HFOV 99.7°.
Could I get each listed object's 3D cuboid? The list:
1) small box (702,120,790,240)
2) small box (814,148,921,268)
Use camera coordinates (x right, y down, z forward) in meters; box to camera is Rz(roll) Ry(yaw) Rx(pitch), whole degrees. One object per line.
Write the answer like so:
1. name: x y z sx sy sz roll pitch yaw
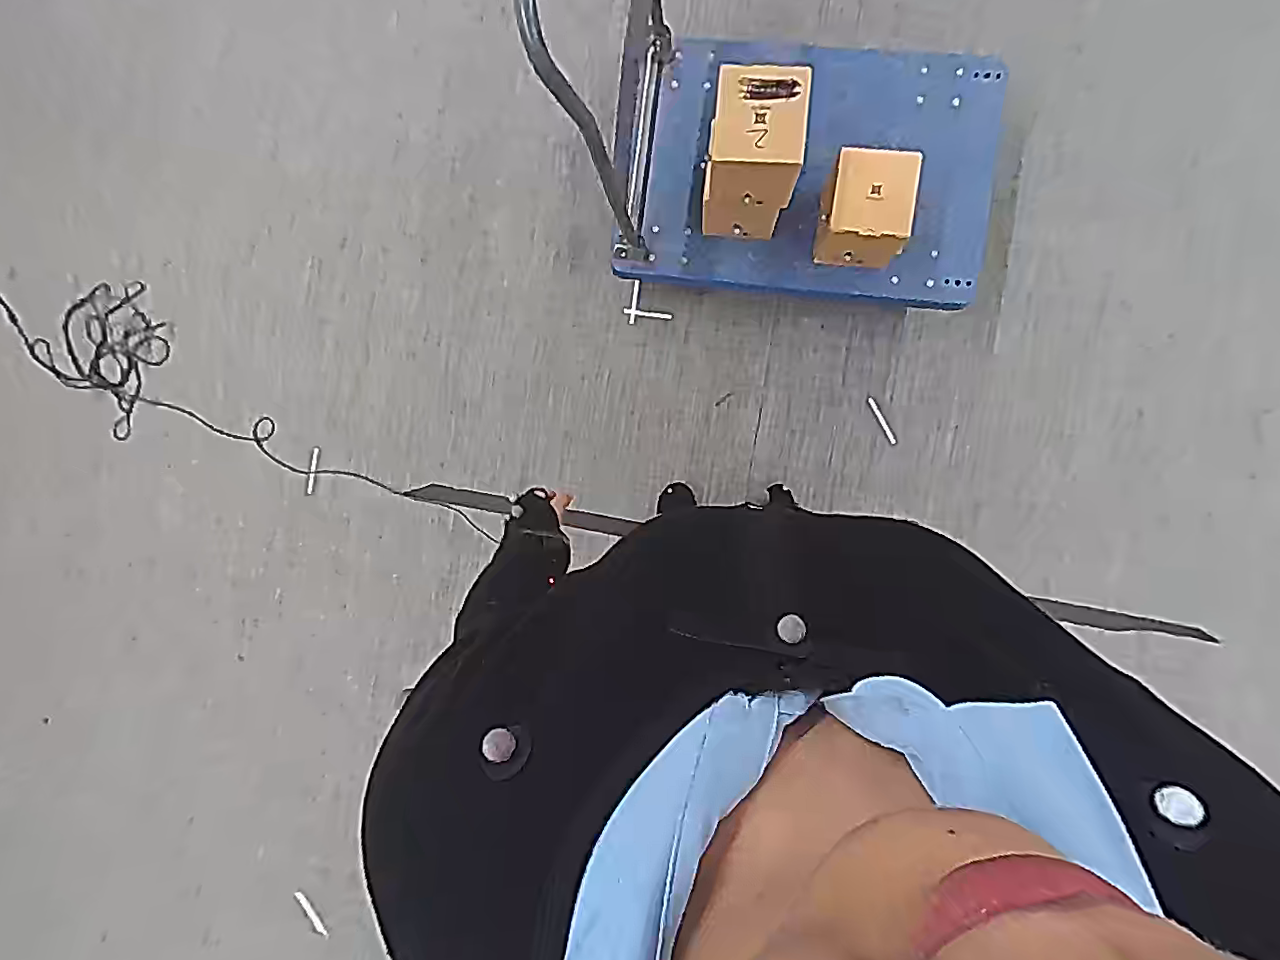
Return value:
1. small box: 0.231 -0.668 1.217 0.168 0.176 0.179 6 91 6
2. small box: 0.493 -0.592 1.193 0.168 0.176 0.179 8 91 6
